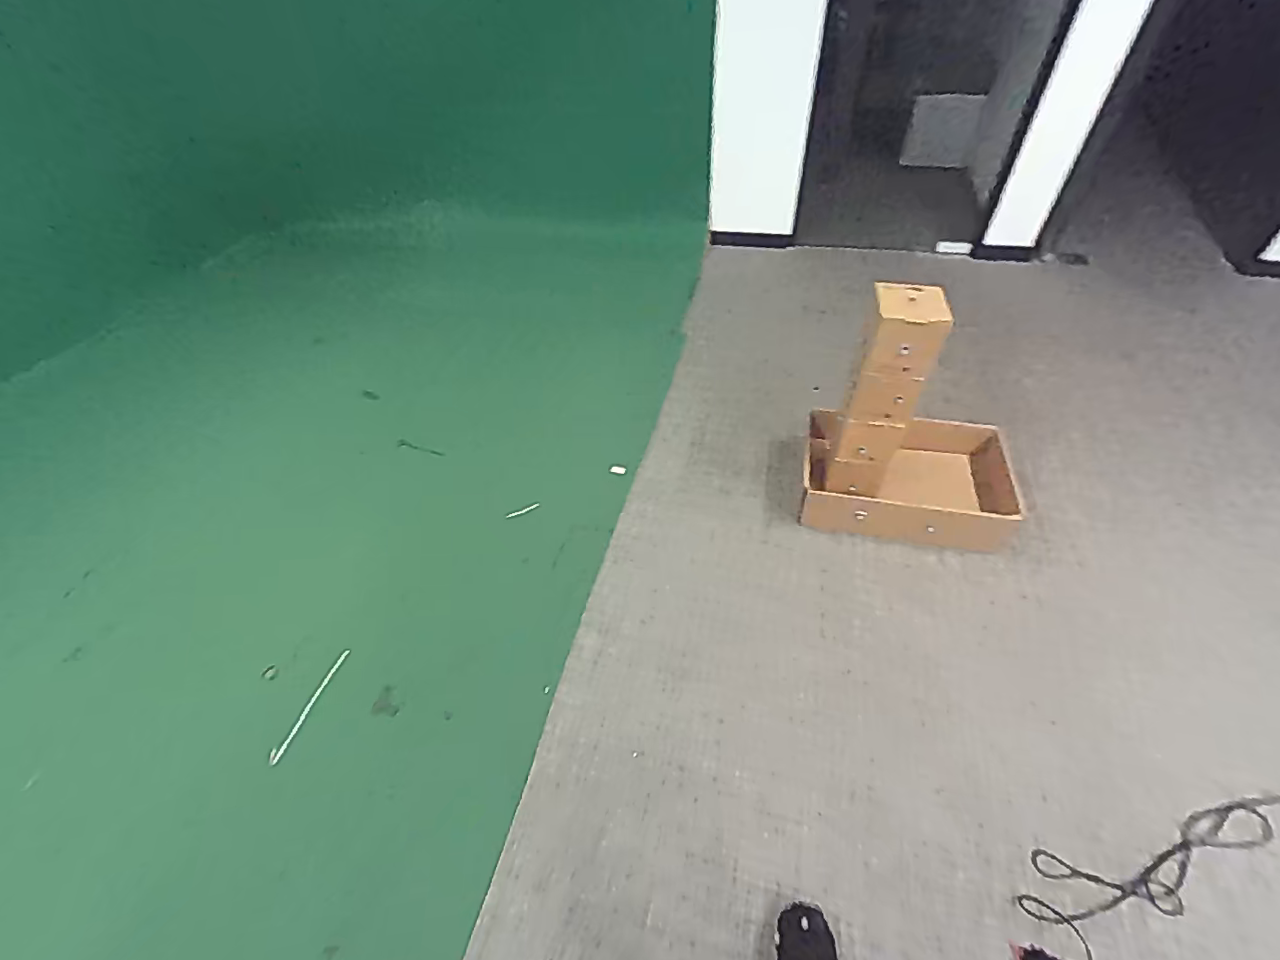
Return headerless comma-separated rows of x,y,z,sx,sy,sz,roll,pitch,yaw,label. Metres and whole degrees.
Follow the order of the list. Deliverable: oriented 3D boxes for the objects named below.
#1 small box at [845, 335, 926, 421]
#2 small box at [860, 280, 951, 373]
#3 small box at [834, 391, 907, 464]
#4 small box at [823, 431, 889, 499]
0.693,-0.289,1.543,0.168,0.176,0.179,8,49,9,small box
0.689,-0.402,1.424,0.168,0.176,0.179,8,50,8,small box
0.700,-0.175,1.660,0.168,0.176,0.179,9,49,10,small box
0.706,-0.065,1.779,0.168,0.176,0.179,9,49,12,small box
